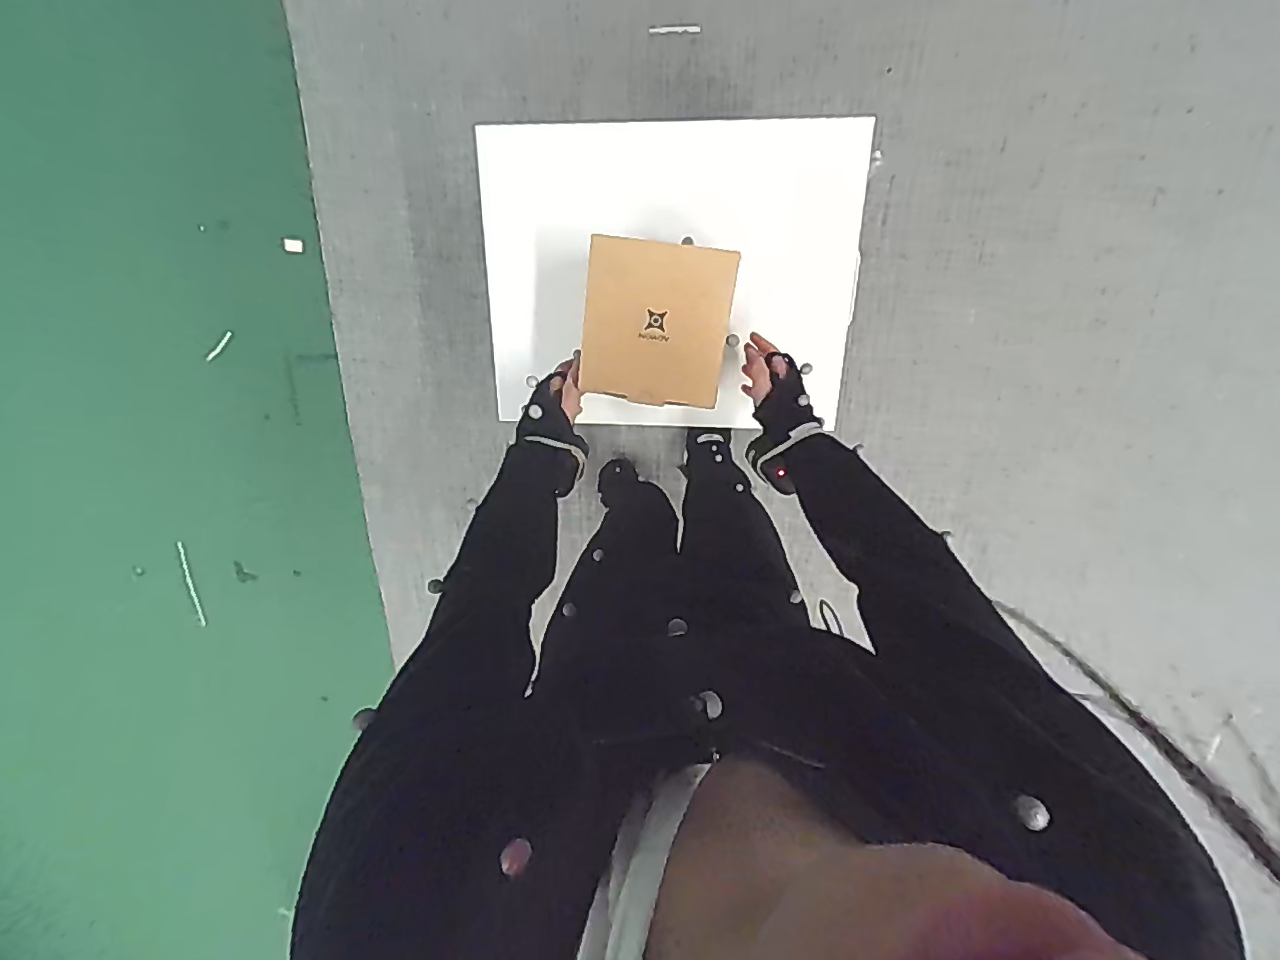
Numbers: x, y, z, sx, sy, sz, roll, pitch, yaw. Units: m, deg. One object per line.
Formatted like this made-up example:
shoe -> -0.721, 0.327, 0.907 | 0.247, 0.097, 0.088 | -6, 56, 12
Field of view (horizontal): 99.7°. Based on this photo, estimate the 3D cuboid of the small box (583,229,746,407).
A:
small box -> 0.030, -0.203, 0.679 | 0.168, 0.176, 0.179 | 8, 110, 3
